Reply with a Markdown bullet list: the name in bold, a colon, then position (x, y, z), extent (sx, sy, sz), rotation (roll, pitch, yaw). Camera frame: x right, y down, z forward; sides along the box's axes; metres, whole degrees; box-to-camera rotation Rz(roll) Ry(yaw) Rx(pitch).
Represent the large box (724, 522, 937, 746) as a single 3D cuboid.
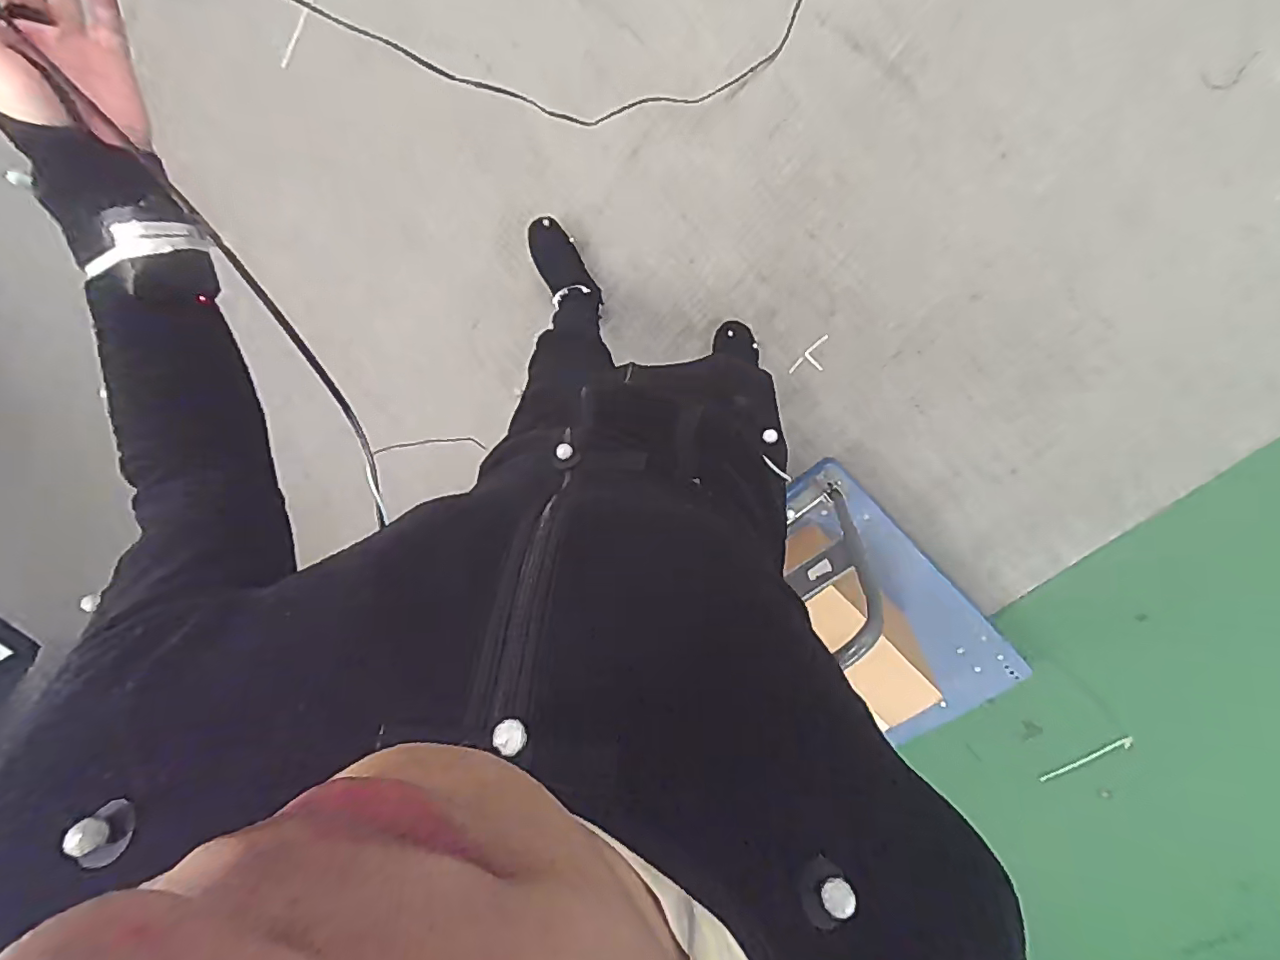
- **large box**: position (0.465, 0.387, 1.408), extent (0.408, 0.320, 0.320), rotation (44, 113, -10)
